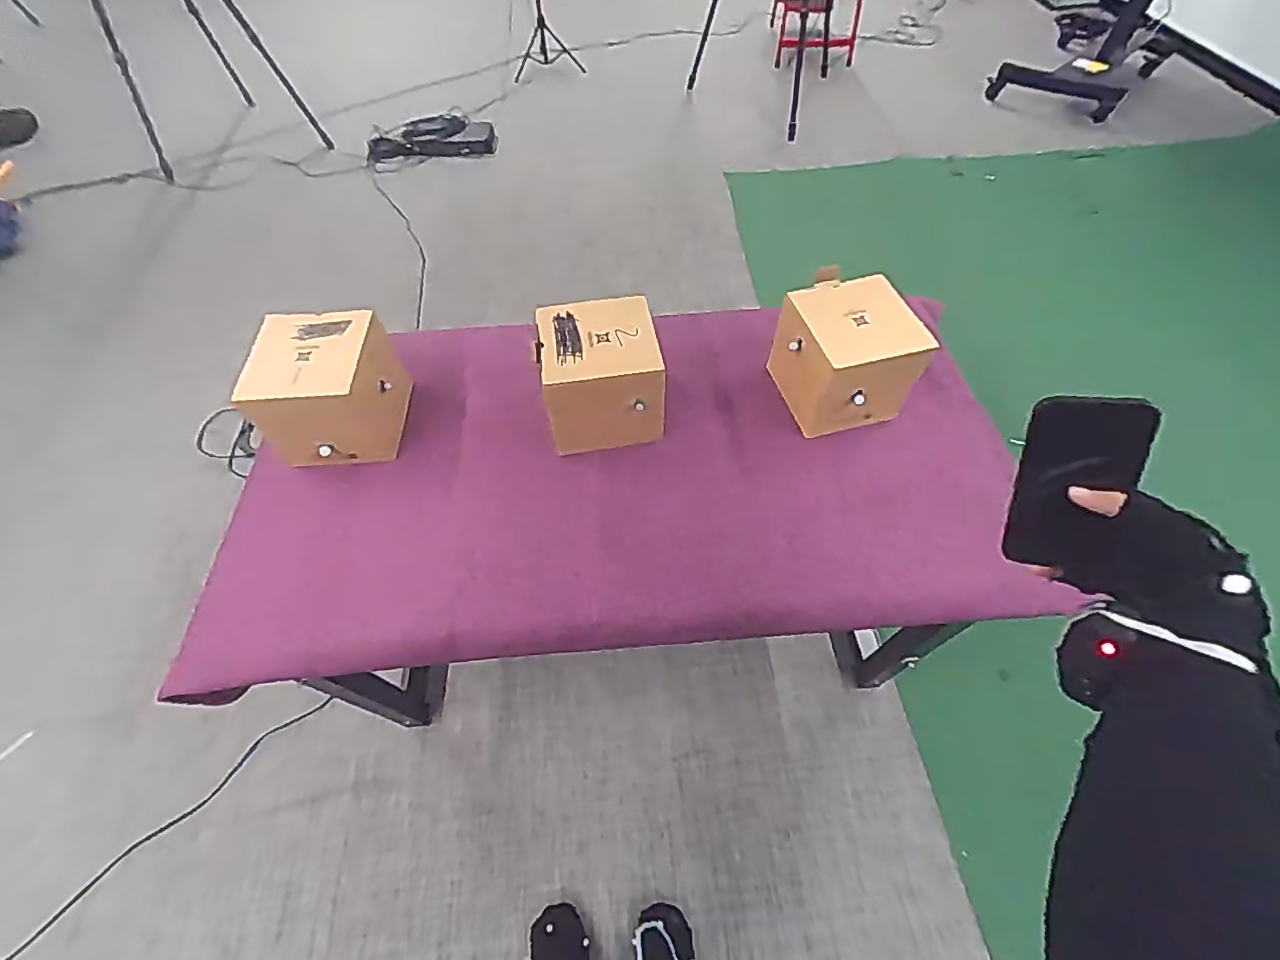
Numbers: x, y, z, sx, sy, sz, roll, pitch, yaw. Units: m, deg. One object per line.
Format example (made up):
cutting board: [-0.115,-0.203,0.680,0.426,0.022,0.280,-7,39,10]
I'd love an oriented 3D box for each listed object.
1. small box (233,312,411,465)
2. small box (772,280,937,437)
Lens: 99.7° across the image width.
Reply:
small box: [-0.482,-0.142,0.856,0.168,0.176,0.179,-3,58,-1]
small box: [0.330,-0.188,0.874,0.168,0.176,0.179,-13,57,-7]
